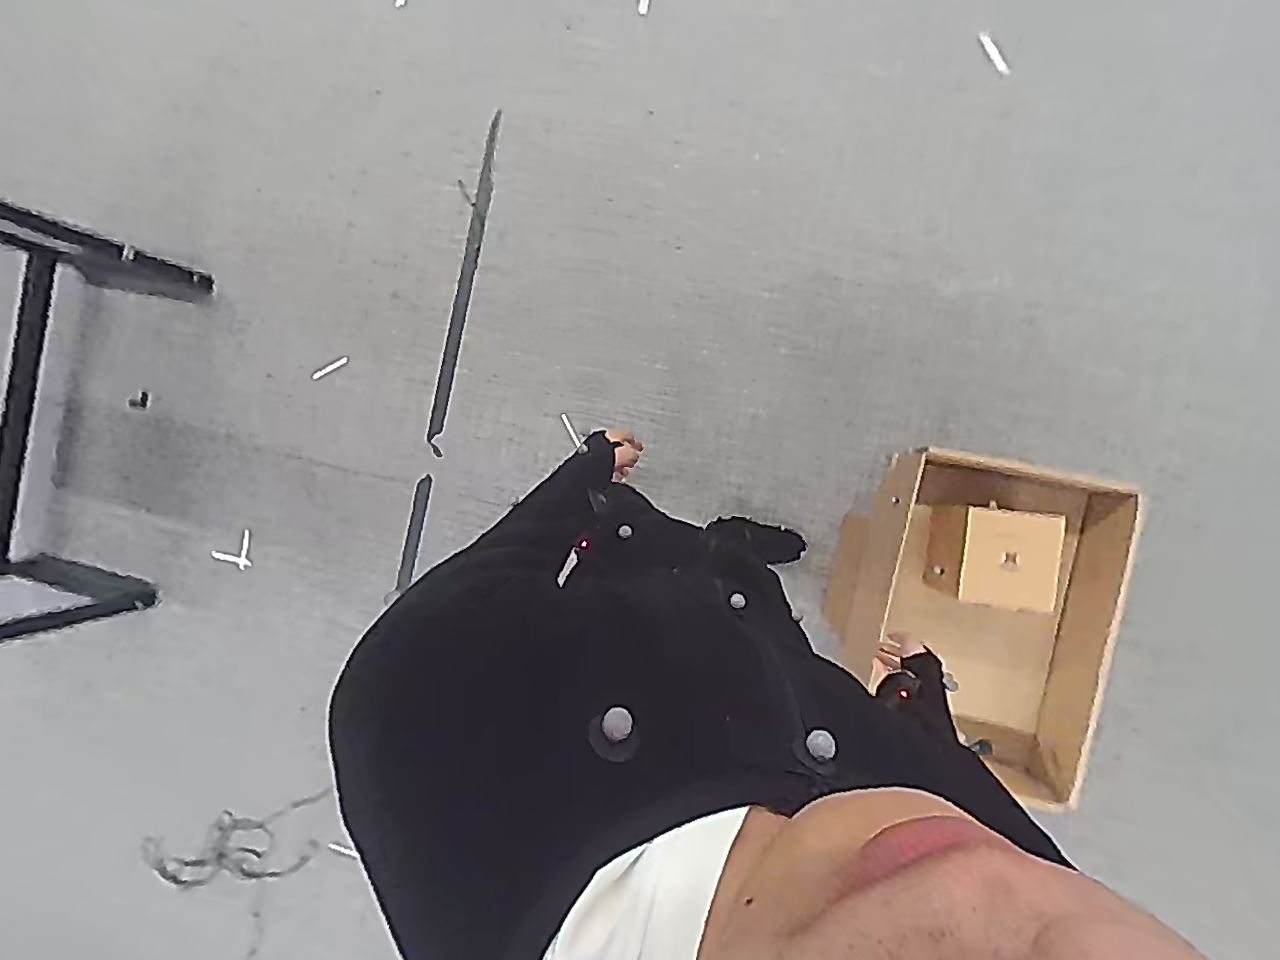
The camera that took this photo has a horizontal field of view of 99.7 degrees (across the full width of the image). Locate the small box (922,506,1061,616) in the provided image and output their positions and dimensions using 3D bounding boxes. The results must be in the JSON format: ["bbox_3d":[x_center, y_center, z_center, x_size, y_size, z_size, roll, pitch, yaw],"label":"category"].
[{"bbox_3d":[0.677,0.150,1.063,0.168,0.176,0.179,7,90,7],"label":"small box"}]
